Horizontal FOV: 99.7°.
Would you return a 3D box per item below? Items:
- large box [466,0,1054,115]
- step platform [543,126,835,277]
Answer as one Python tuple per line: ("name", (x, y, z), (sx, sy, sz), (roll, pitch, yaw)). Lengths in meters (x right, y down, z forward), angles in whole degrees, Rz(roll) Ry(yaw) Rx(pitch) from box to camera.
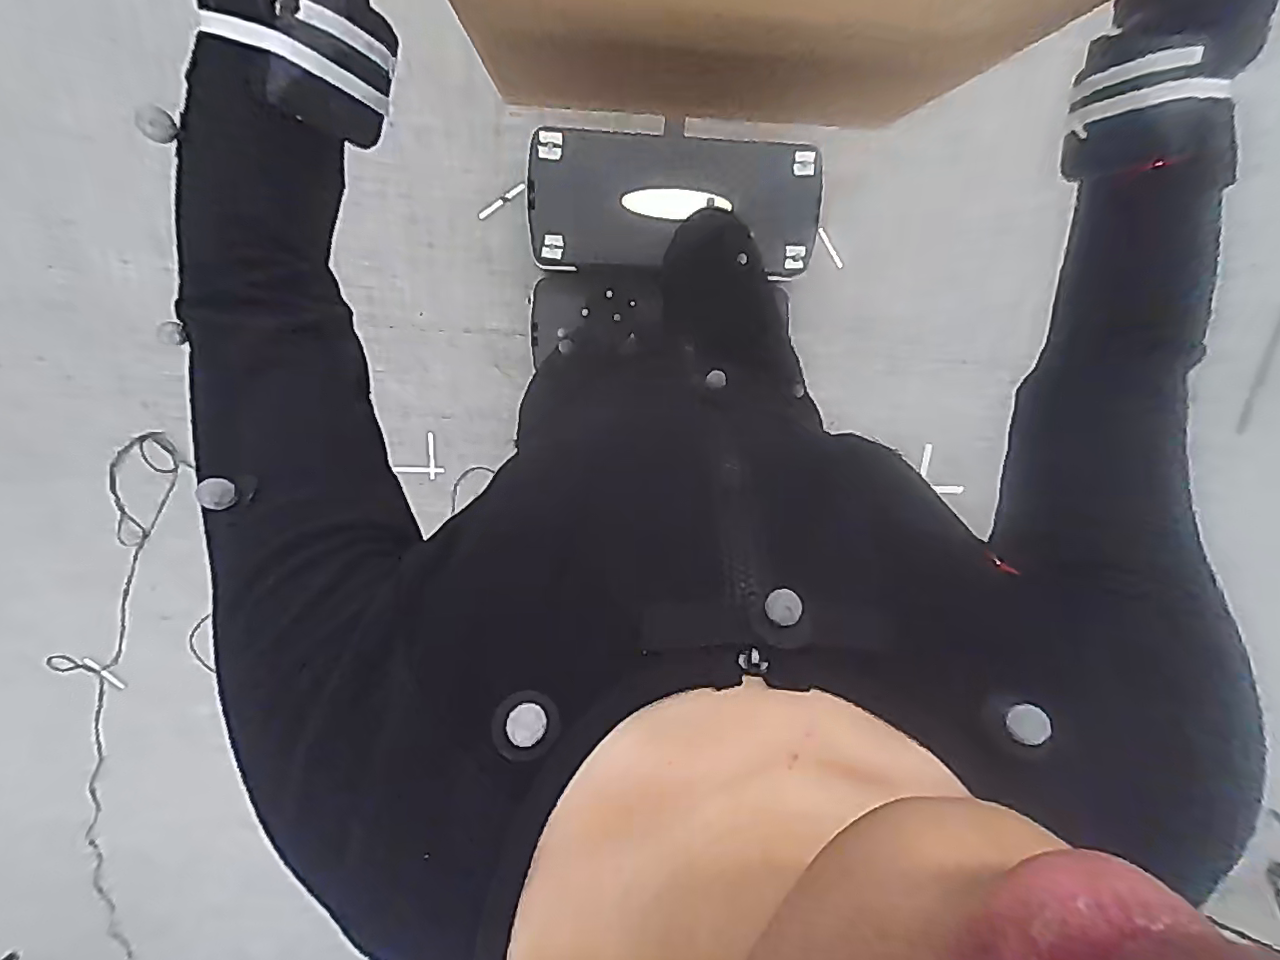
("large box", (0.074, -0.483, 0.376), (0.408, 0.320, 0.320), (0, 110, -5))
("step platform", (0.112, -0.658, 1.305), (0.684, 0.204, 0.286), (0, 107, -5))
